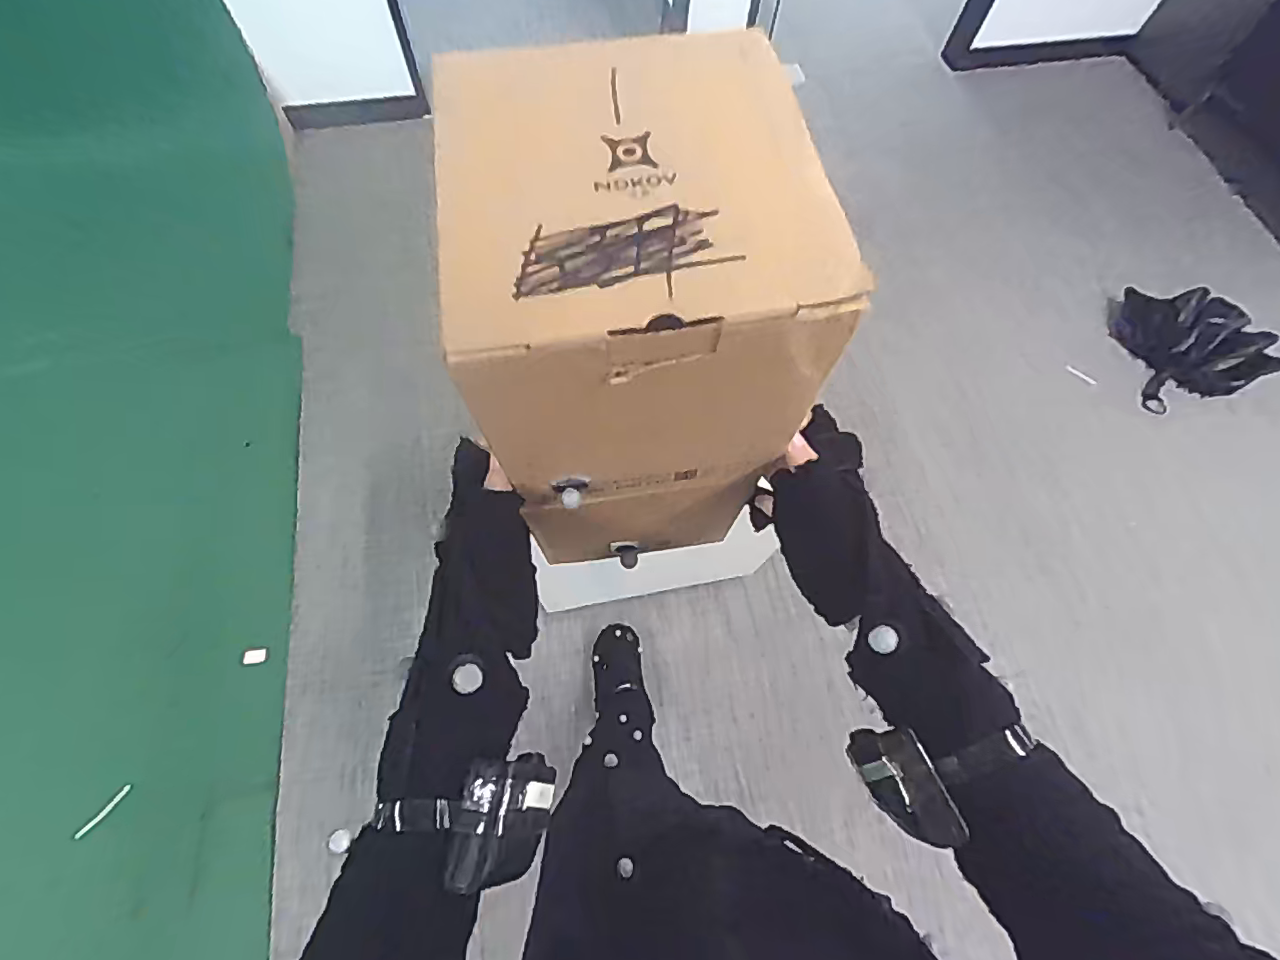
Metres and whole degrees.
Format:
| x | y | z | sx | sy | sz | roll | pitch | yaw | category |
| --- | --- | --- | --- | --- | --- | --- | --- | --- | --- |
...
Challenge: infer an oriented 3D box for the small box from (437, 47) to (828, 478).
| x | y | z | sx | sy | sz | roll | pitch | yaw | category |
| --- | --- | --- | --- | --- | --- | --- | --- | --- | --- |
| -0.012 | -0.111 | 0.326 | 0.168 | 0.176 | 0.179 | -8 | 66 | -4 | small box |

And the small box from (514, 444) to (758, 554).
| x | y | z | sx | sy | sz | roll | pitch | yaw | category |
| --- | --- | --- | --- | --- | --- | --- | --- | --- | --- |
| -0.016 | -0.051 | 0.462 | 0.168 | 0.176 | 0.179 | -9 | 69 | -4 | small box |
